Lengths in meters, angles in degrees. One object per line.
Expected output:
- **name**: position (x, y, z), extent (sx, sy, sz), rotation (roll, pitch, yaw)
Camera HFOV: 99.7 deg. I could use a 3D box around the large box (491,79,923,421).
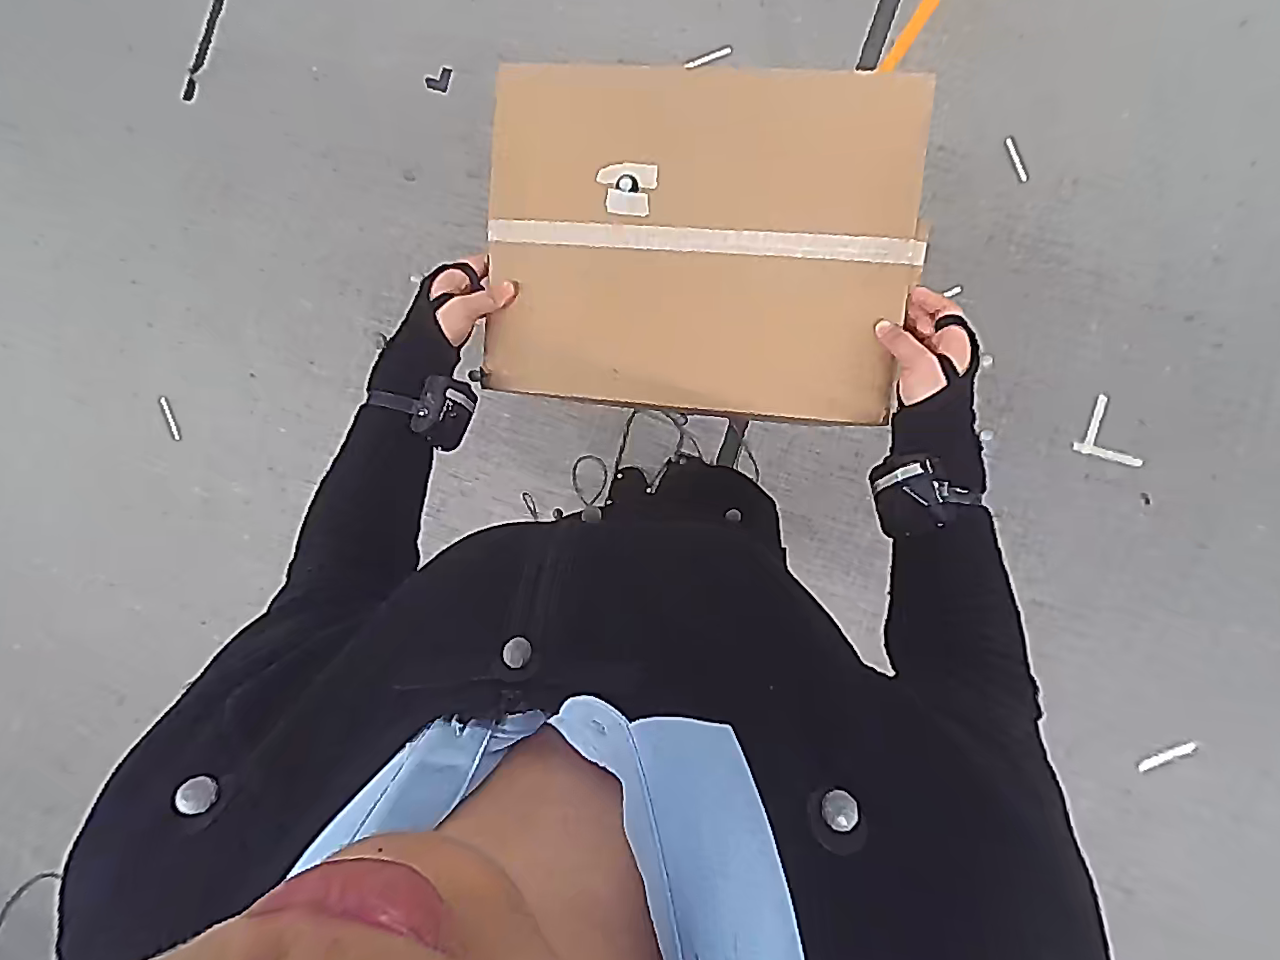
- **large box**: position (0.072, -0.242, 0.675), extent (0.408, 0.320, 0.320), rotation (6, 95, 7)
